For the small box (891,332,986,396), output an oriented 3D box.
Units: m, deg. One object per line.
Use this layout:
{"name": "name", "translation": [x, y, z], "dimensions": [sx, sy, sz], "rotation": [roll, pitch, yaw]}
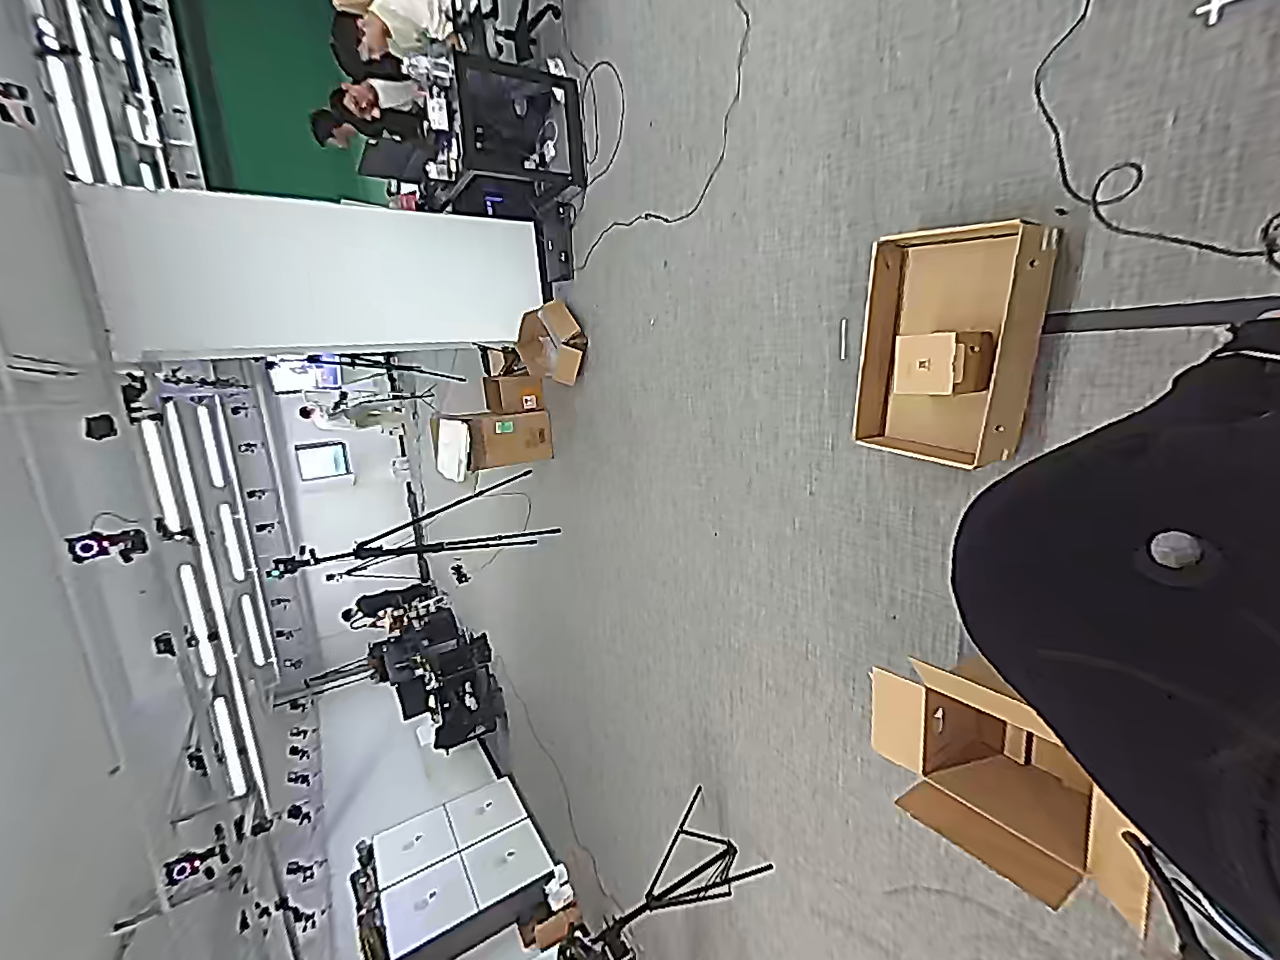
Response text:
{"name": "small box", "translation": [0.841, -0.327, 1.524], "dimensions": [0.179, 0.176, 0.168], "rotation": [17, 112, 56]}
